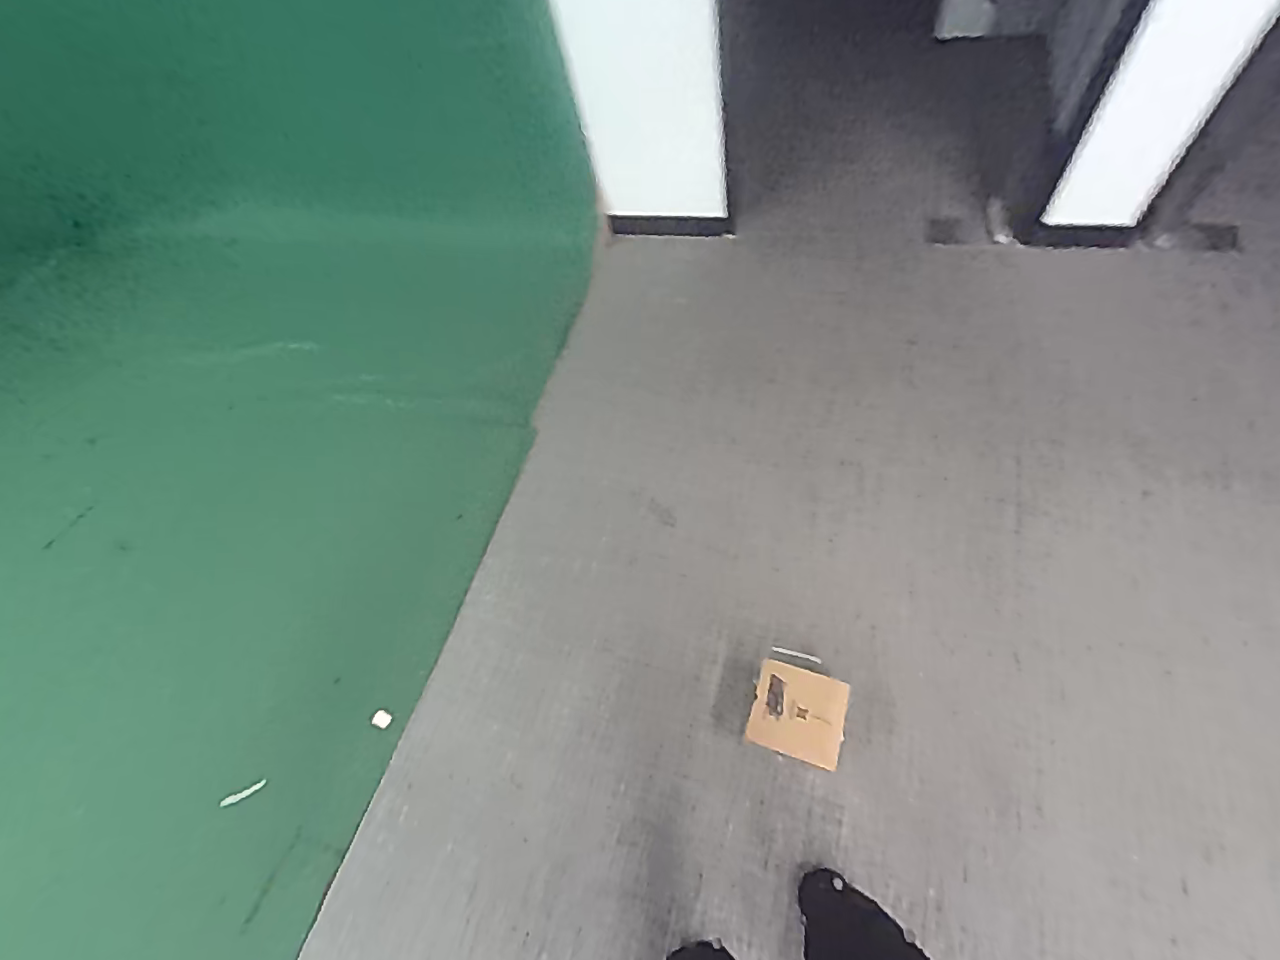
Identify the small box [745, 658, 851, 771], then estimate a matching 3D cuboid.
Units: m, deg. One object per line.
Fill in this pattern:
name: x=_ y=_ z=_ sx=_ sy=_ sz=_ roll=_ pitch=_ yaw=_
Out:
small box: x=0.327 y=0.496 z=1.134 sx=0.179 sy=0.176 sz=0.168 roll=13 pitch=65 yaw=19
